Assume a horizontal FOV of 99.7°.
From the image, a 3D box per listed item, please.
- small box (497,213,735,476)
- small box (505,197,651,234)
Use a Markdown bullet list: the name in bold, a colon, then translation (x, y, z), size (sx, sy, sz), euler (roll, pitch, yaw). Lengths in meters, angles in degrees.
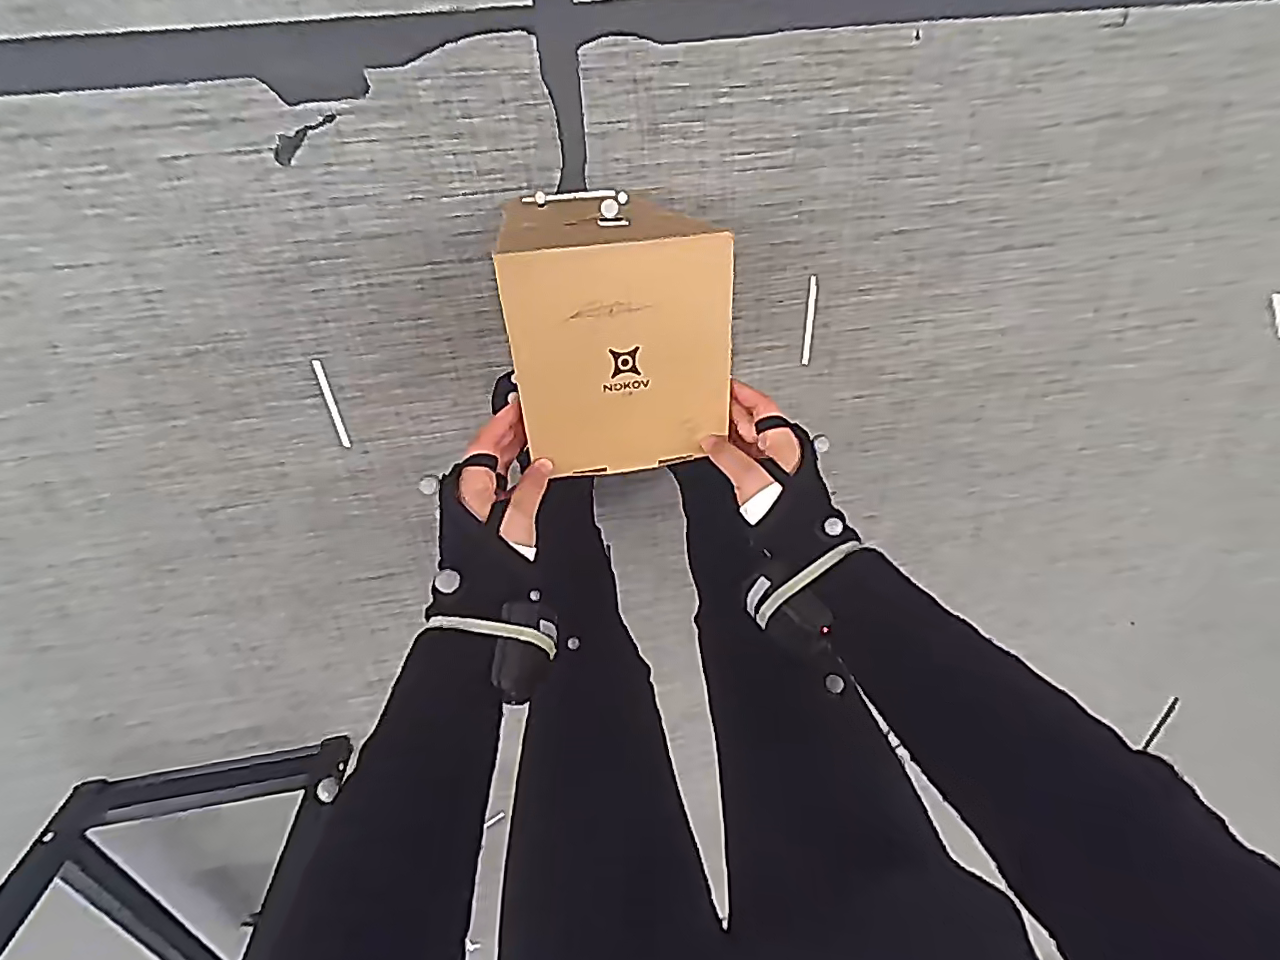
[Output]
- **small box**: translation (-0.024, -0.127, 0.476), size (0.168, 0.176, 0.179), euler (-8, 121, -7)
- **small box**: translation (-0.082, -0.293, 0.750), size (0.179, 0.176, 0.168), euler (-7, 122, -7)
